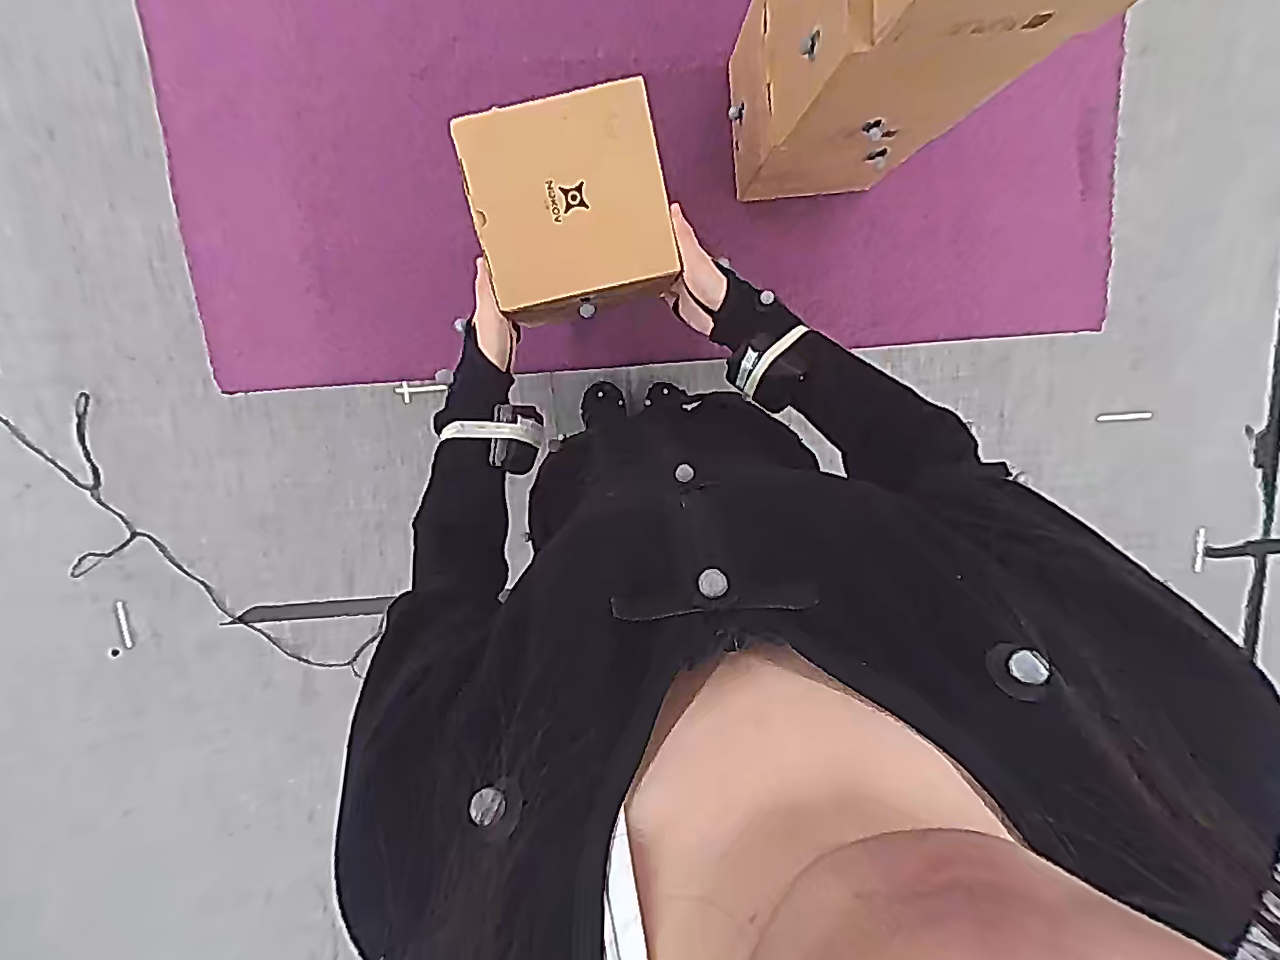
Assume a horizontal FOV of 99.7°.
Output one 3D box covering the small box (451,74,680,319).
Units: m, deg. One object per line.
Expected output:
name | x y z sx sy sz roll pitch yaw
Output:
small box | -0.067 -0.271 0.559 0.179 0.176 0.168 -13 102 1

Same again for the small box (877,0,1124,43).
small box | 0.240 -0.384 0.288 0.168 0.176 0.179 -6 100 -1

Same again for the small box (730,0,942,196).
small box | 0.208 -0.440 0.610 0.179 0.176 0.168 -6 99 0
